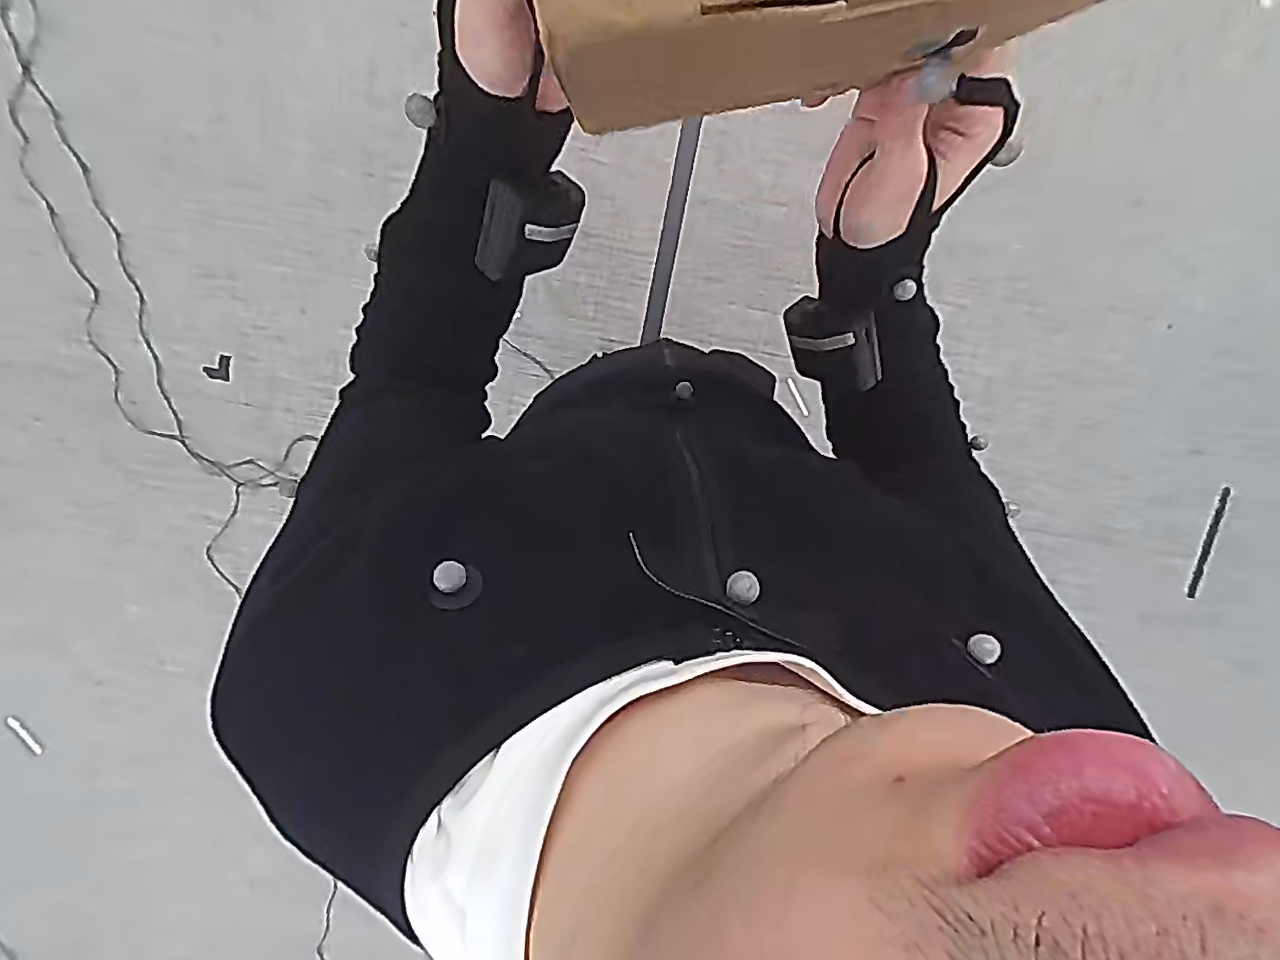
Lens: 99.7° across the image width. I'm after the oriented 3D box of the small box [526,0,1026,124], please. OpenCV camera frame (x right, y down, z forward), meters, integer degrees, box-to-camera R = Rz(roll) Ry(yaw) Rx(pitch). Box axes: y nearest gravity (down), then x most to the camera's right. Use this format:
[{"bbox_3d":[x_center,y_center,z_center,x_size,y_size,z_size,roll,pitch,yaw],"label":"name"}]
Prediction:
[{"bbox_3d":[0.040,-0.218,0.149,0.168,0.176,0.179,-11,116,3],"label":"small box"}]
